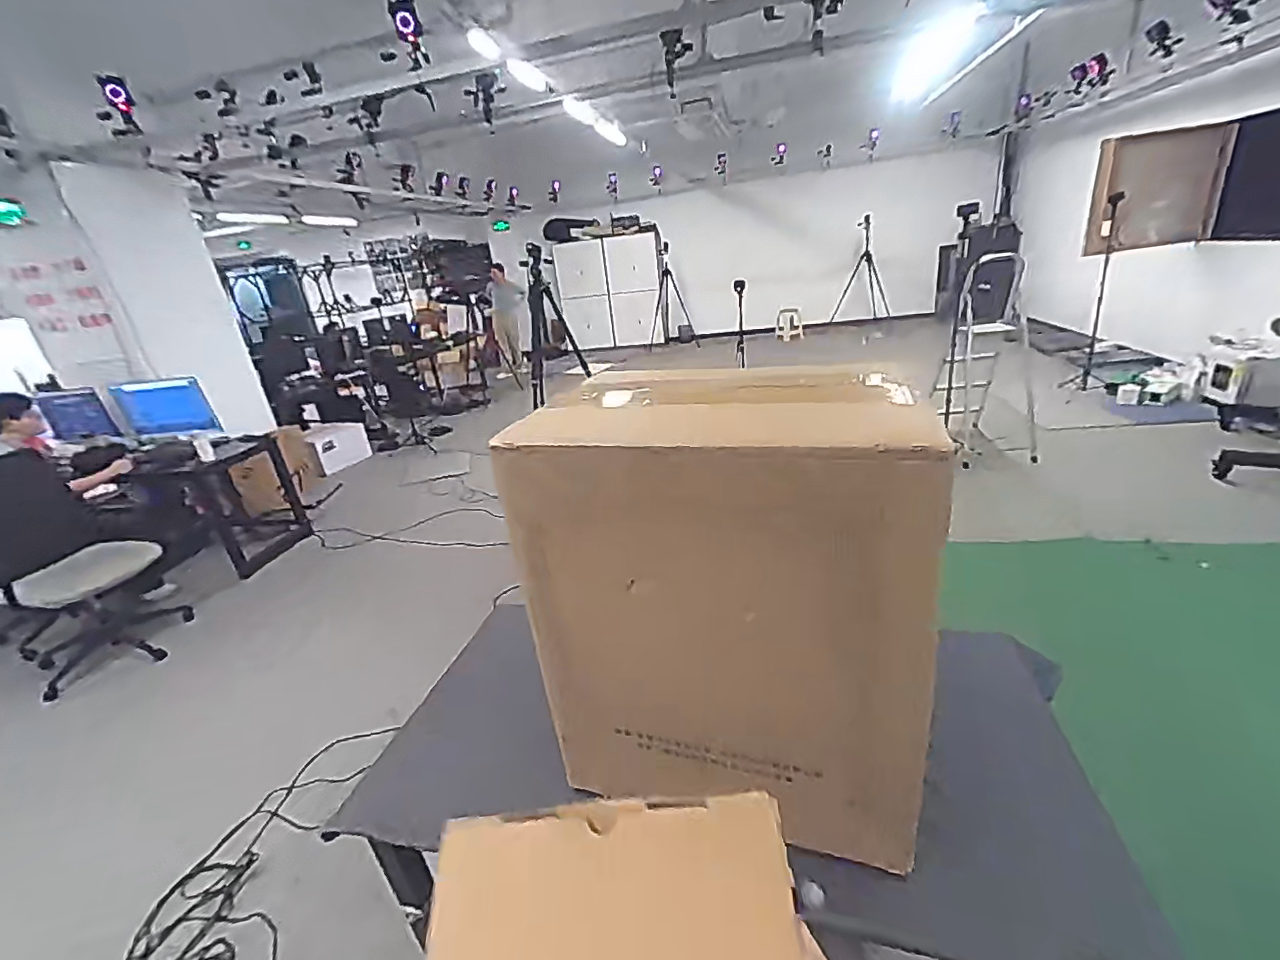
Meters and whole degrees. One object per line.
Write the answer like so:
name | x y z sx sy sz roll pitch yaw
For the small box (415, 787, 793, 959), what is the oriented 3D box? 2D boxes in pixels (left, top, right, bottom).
small box | -0.003 0.271 0.280 0.168 0.176 0.179 -10 53 8
